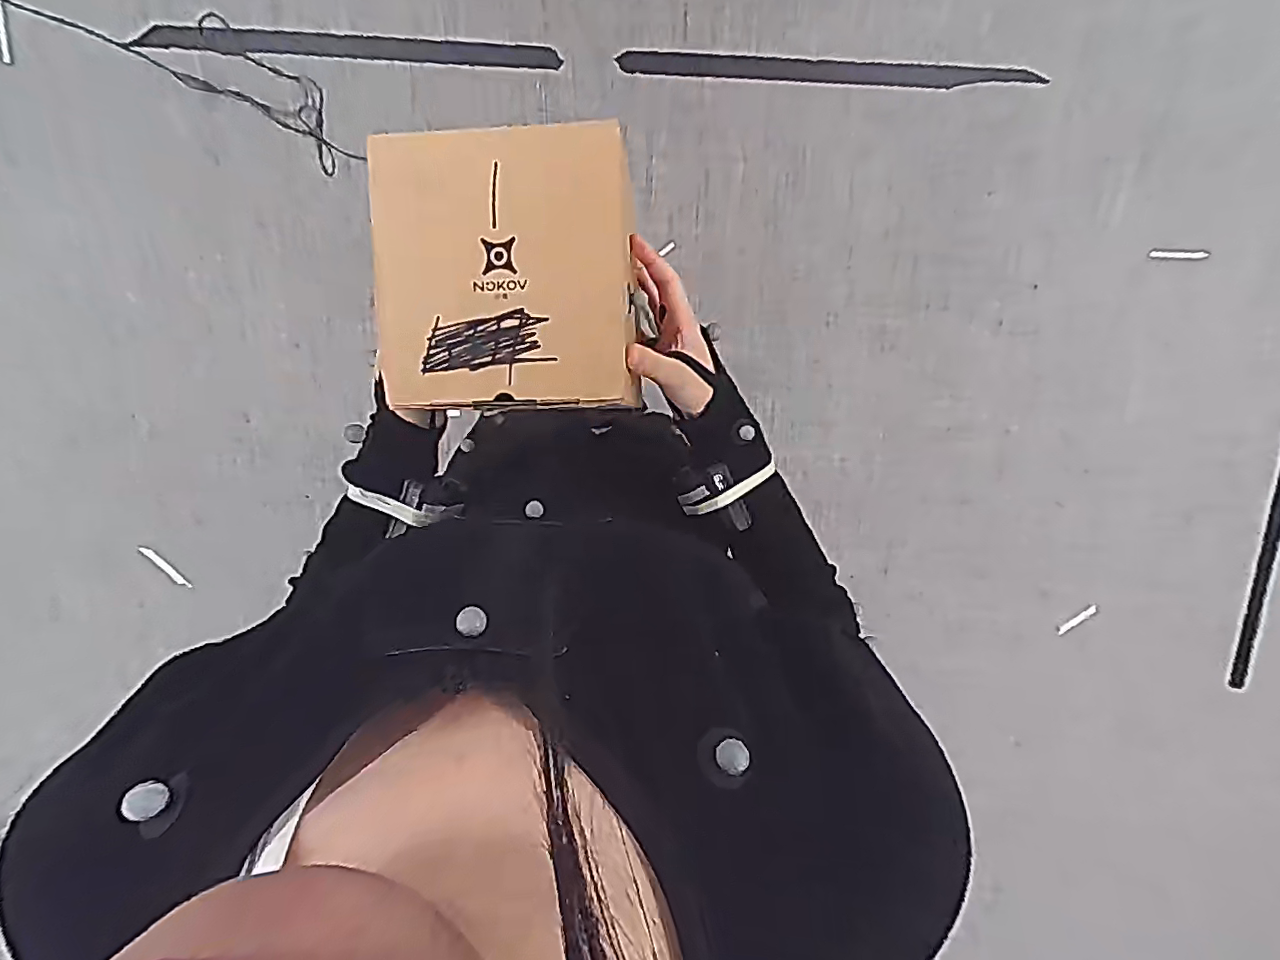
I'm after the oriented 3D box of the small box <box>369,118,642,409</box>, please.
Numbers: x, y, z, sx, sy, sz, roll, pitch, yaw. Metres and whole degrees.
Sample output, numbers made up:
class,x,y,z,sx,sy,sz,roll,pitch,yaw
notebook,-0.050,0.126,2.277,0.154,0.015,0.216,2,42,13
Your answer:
class,x,y,z,sx,sy,sz,roll,pitch,yaw
small box,-0.085,-0.145,0.426,0.168,0.176,0.179,-1,95,3
